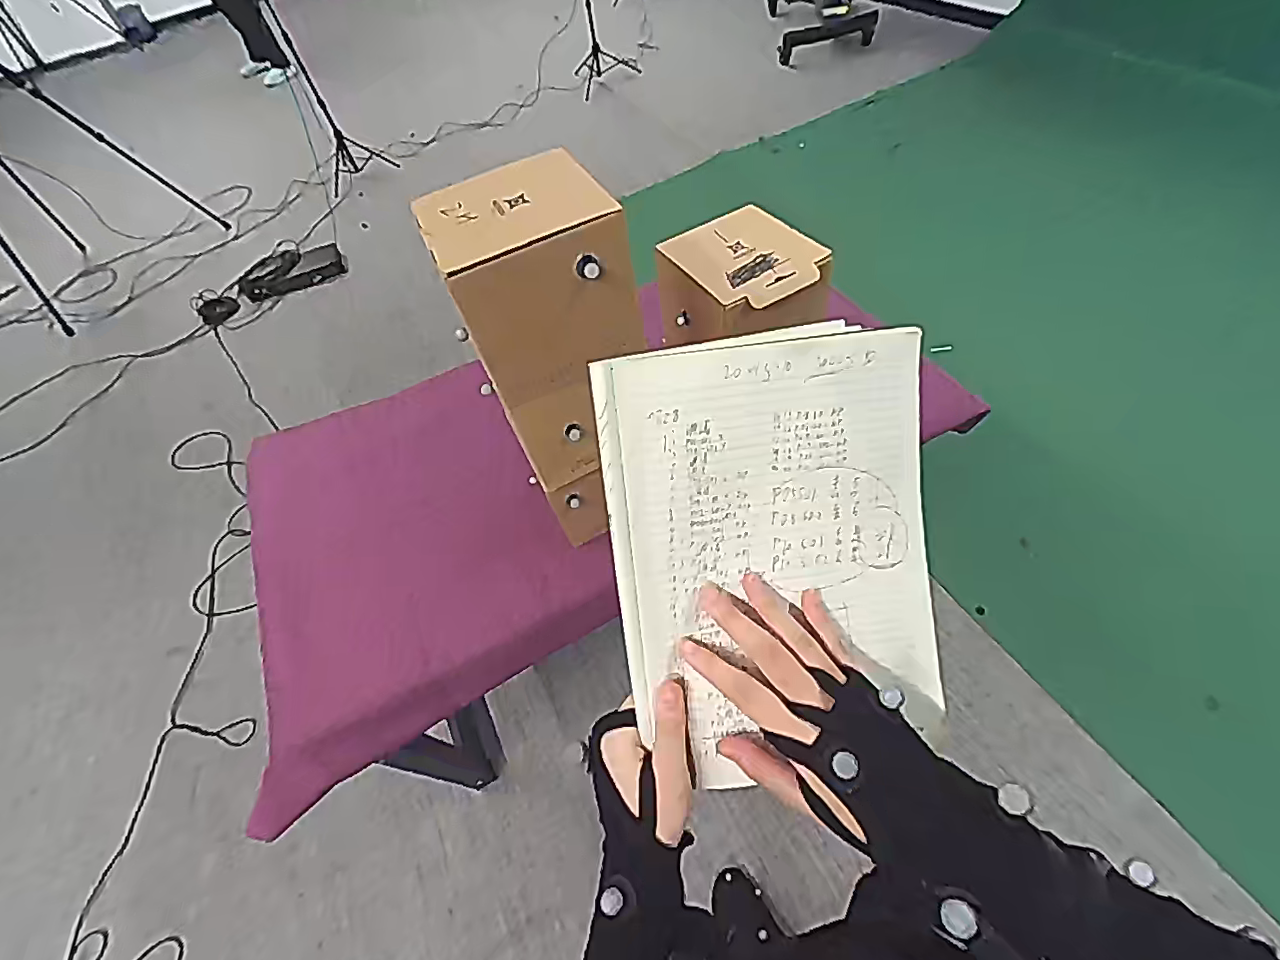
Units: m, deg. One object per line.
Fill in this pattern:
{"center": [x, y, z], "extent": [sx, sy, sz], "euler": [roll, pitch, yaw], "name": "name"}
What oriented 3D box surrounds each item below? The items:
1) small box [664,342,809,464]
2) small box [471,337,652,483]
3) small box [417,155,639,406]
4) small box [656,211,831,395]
{"center": [0.158, -0.150, 0.908], "extent": [0.168, 0.176, 0.179], "euler": [-26, 54, -11], "name": "small box"}
{"center": [-0.098, -0.118, 0.725], "extent": [0.168, 0.176, 0.179], "euler": [-27, 54, -10], "name": "small box"}
{"center": [-0.111, -0.213, 0.591], "extent": [0.179, 0.176, 0.168], "euler": [-25, 53, -8], "name": "small box"}
{"center": [0.143, -0.245, 0.775], "extent": [0.168, 0.176, 0.179], "euler": [-27, 53, -12], "name": "small box"}
